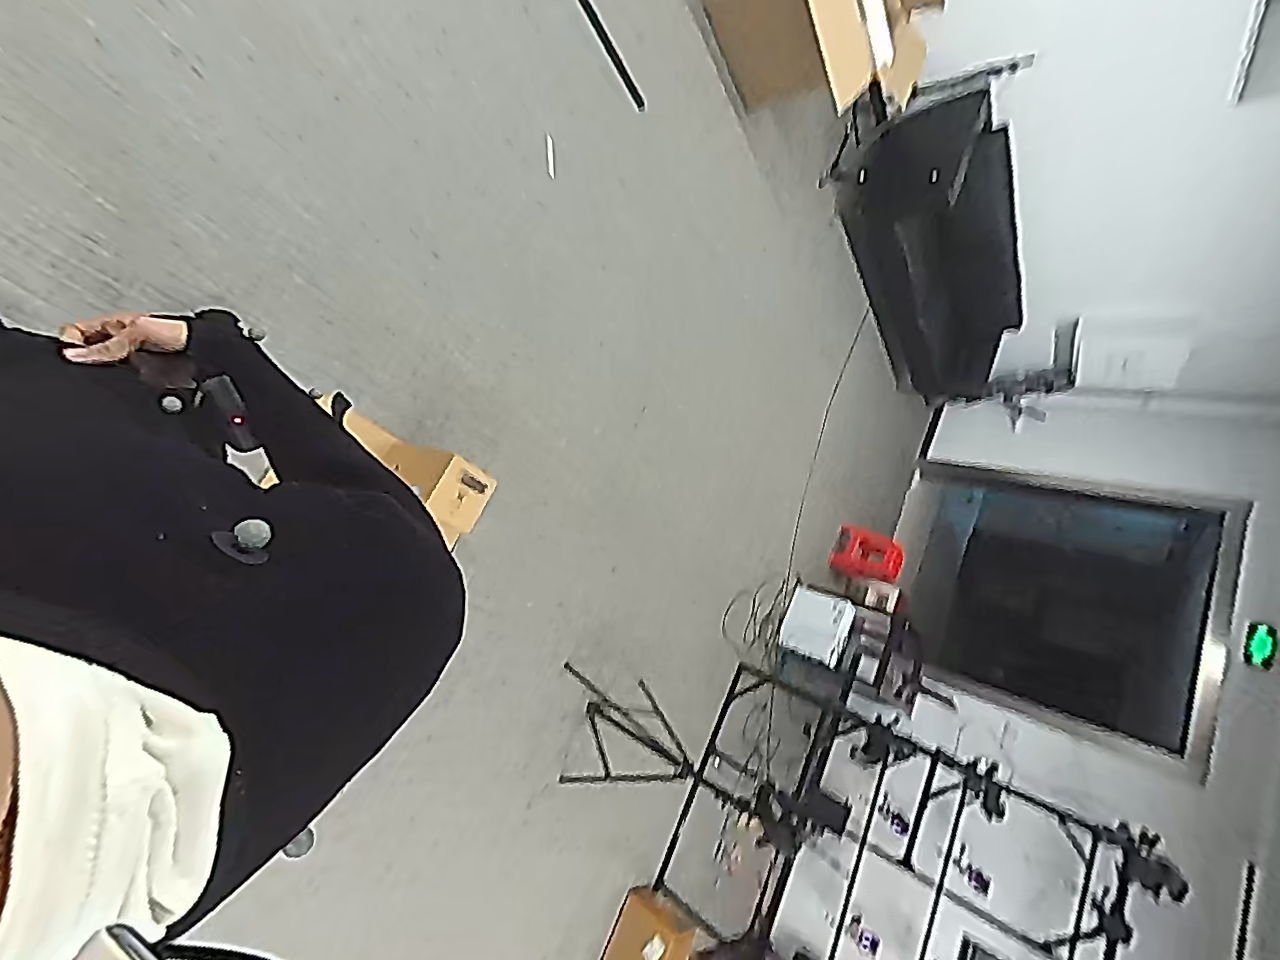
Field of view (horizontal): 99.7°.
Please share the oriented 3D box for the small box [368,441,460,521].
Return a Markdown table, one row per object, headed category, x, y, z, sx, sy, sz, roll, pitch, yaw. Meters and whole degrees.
| category | x | y | z | sx | sy | sz | roll | pitch | yaw |
| --- | --- | --- | --- | --- | --- | --- | --- | --- | --- |
| small box | -0.693 | 0.001 | 1.640 | 0.168 | 0.176 | 0.179 | 42 | 67 | -46 |
